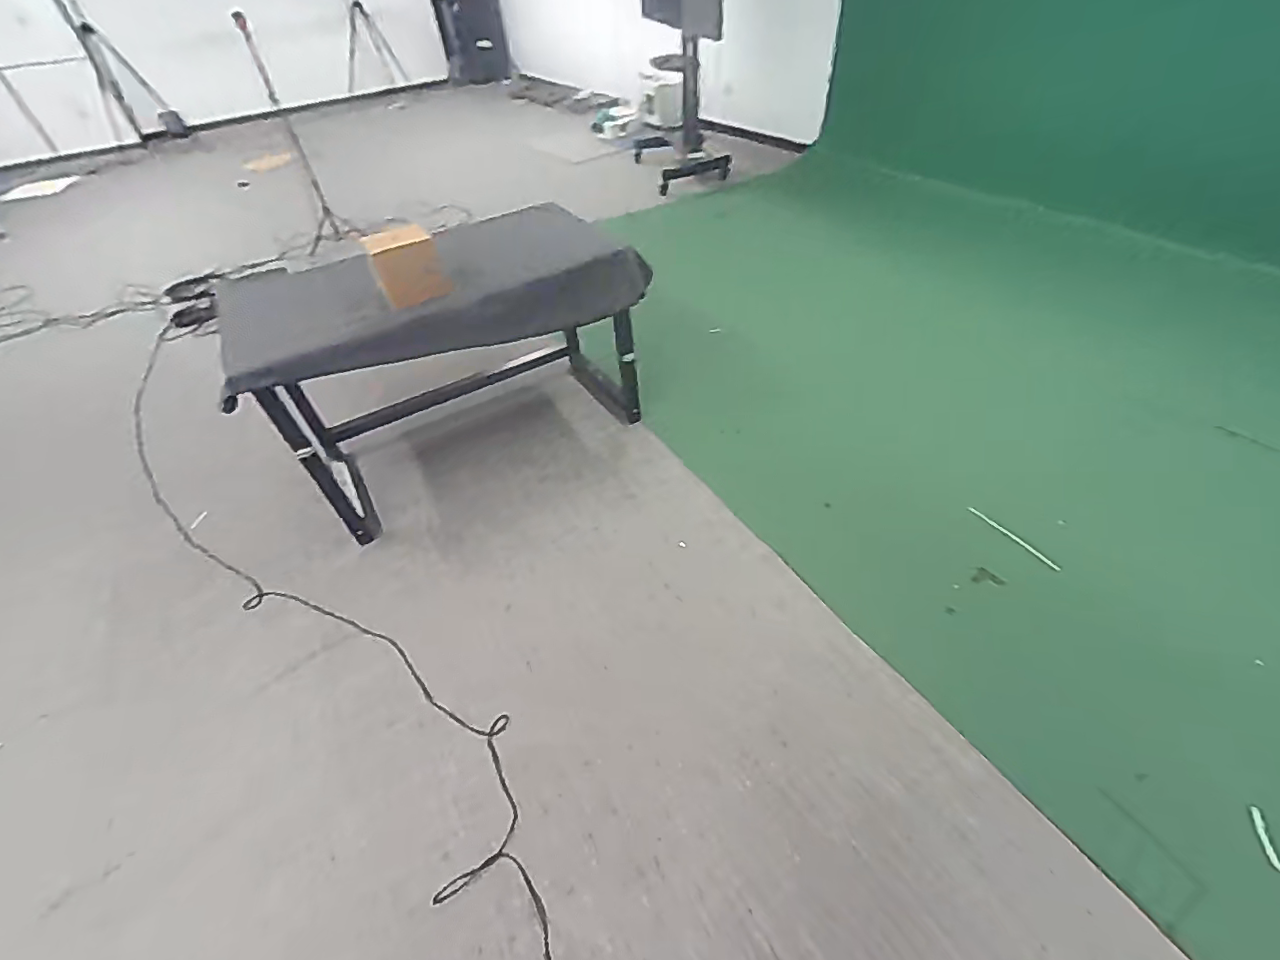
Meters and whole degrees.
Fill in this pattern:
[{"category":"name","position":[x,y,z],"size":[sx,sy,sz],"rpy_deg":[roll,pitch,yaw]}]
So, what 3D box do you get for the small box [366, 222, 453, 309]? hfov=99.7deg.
[{"category":"small box","position":[-0.671,-0.633,1.595],"size":[0.179,0.176,0.168],"rpy_deg":[-28,47,-18]}]
